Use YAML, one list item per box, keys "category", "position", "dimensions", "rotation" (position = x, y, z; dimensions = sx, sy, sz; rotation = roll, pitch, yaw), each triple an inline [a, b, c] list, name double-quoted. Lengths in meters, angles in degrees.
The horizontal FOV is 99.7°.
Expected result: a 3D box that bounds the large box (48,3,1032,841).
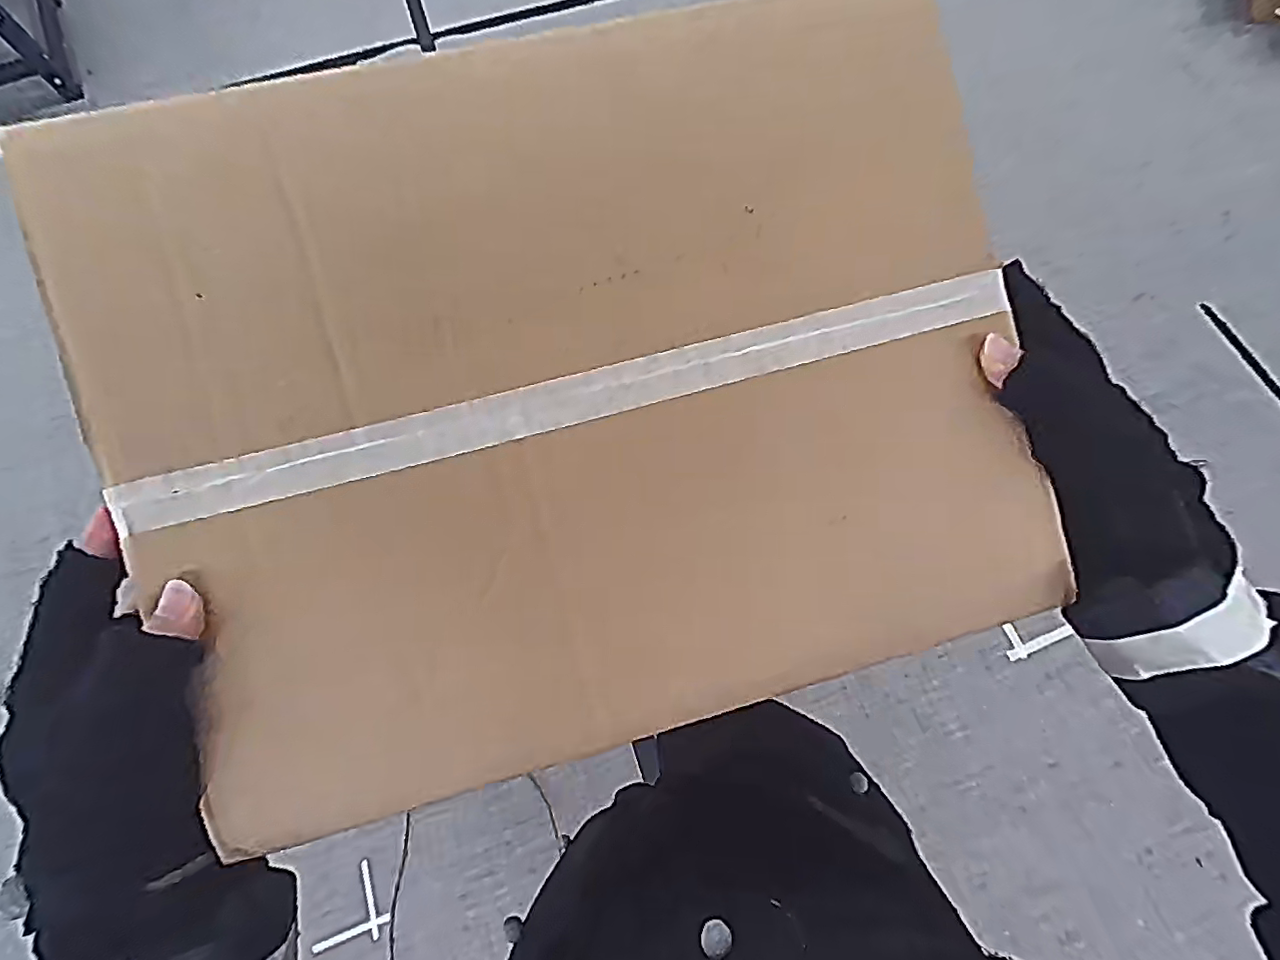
- category: "large box"
  position: [-0.037, -0.040, 0.401]
  dimensions: [0.408, 0.320, 0.320]
  rotation: [-15, 92, -6]
